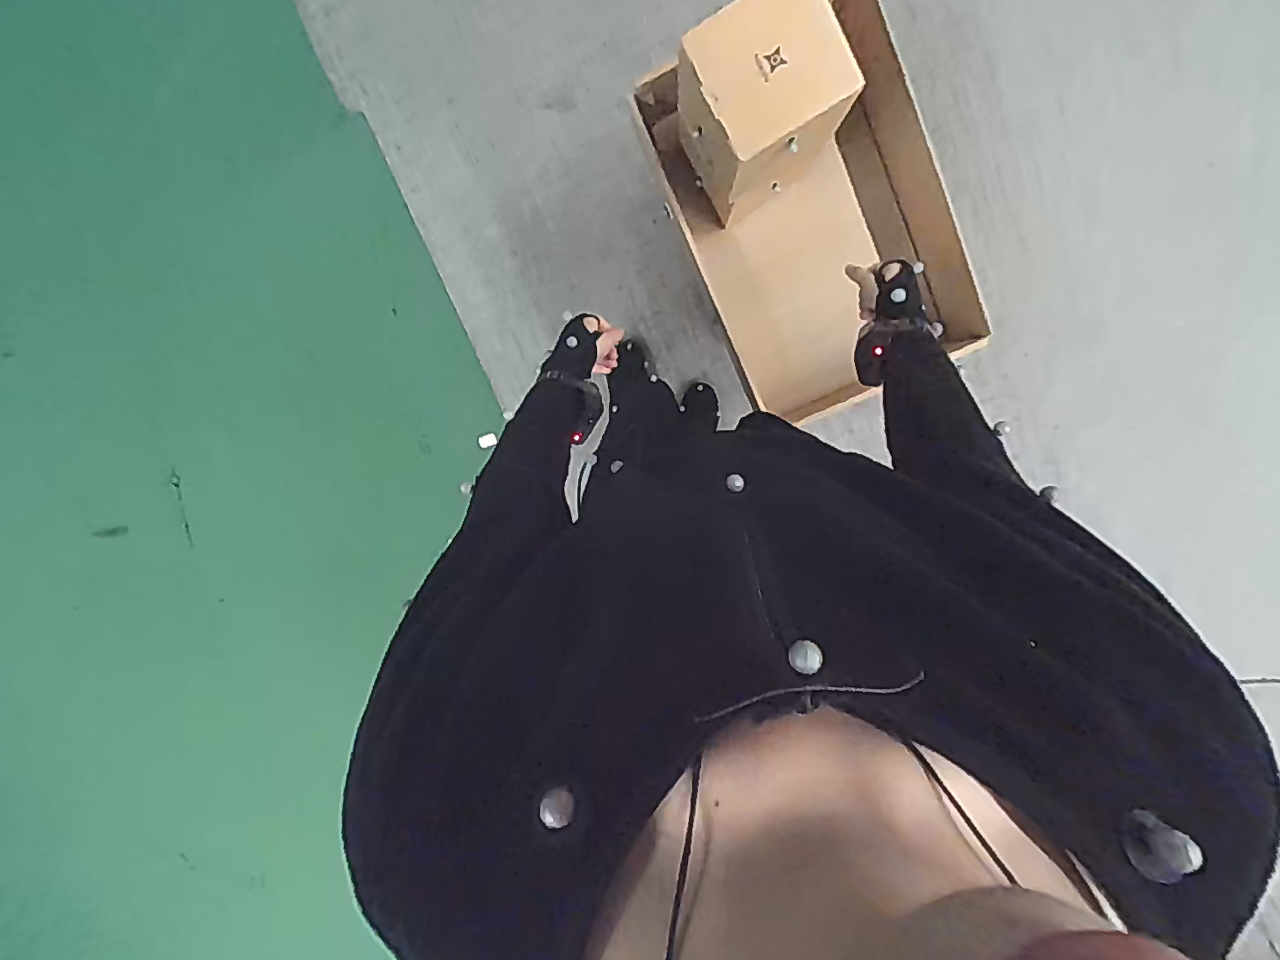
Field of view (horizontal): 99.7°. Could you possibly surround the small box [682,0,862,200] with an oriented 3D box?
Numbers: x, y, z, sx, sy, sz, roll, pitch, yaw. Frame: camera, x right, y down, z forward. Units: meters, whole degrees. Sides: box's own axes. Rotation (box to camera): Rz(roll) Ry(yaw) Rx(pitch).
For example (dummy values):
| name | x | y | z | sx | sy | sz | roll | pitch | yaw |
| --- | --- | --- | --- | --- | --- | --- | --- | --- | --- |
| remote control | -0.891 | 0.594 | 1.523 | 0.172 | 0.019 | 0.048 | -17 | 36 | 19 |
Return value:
| name | x | y | z | sx | sy | sz | roll | pitch | yaw |
| --- | --- | --- | --- | --- | --- | --- | --- | --- | --- |
| small box | 0.168 | -0.528 | 0.748 | 0.179 | 0.176 | 0.168 | -28 | 97 | 10 |
